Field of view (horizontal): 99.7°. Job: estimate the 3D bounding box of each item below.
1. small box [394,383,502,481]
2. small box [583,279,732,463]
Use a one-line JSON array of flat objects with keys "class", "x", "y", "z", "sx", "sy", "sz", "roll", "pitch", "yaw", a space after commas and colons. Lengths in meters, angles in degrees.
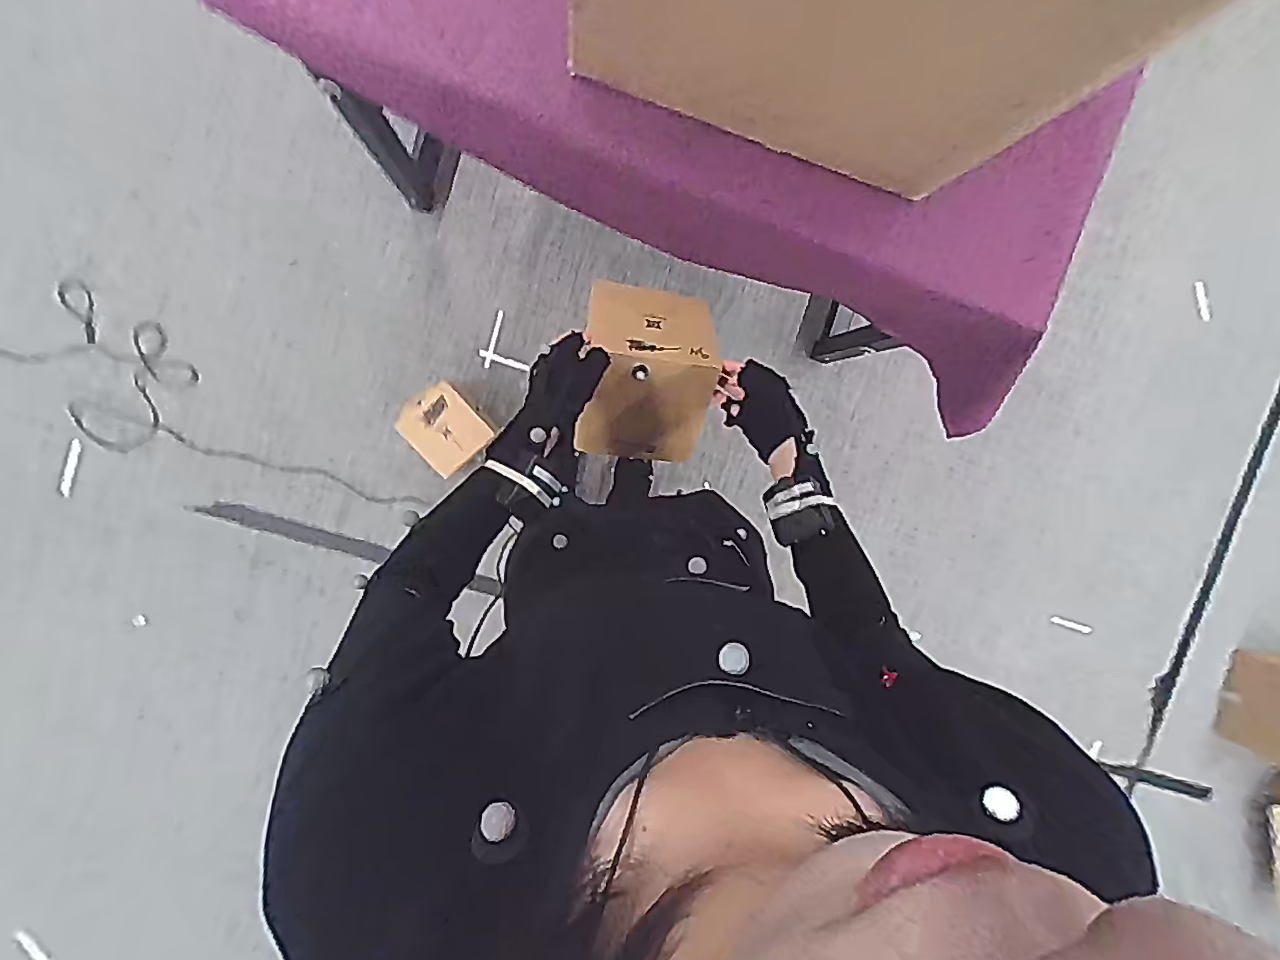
[{"class": "small box", "x": -0.470, "y": -0.119, "z": 1.354, "sx": 0.168, "sy": 0.176, "sz": 0.179, "roll": -42, "pitch": 100, "yaw": -1}, {"class": "small box", "x": 0.014, "y": -0.148, "z": 0.745, "sx": 0.168, "sy": 0.179, "sz": 0.176, "roll": 6, "pitch": 134, "yaw": -9}]
